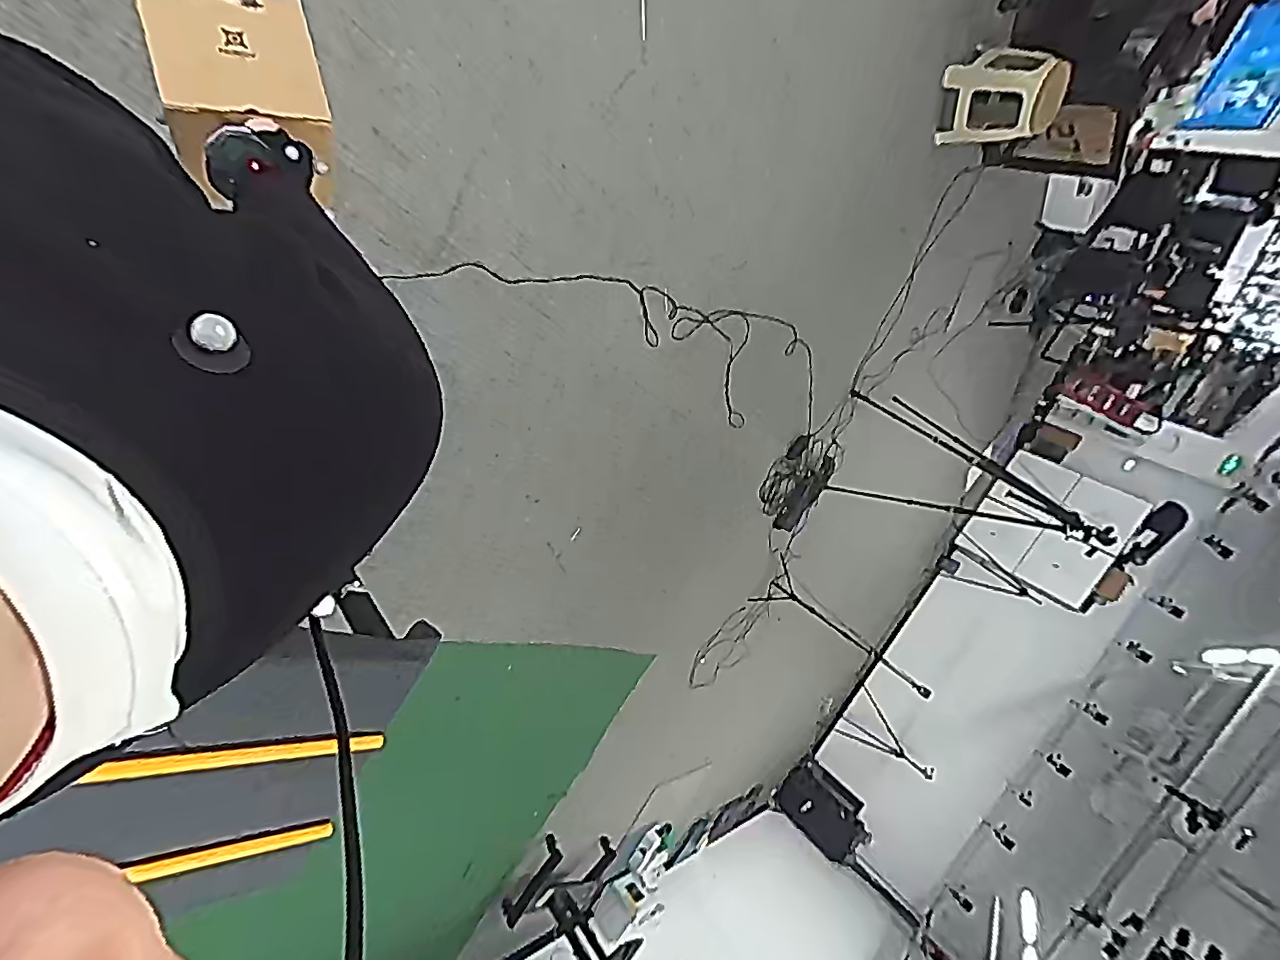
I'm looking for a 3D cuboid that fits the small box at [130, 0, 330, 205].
[{"bbox_3d":[-0.513,-0.482,0.698,0.168,0.176,0.179,-16,87,-31],"label":"small box"}]
